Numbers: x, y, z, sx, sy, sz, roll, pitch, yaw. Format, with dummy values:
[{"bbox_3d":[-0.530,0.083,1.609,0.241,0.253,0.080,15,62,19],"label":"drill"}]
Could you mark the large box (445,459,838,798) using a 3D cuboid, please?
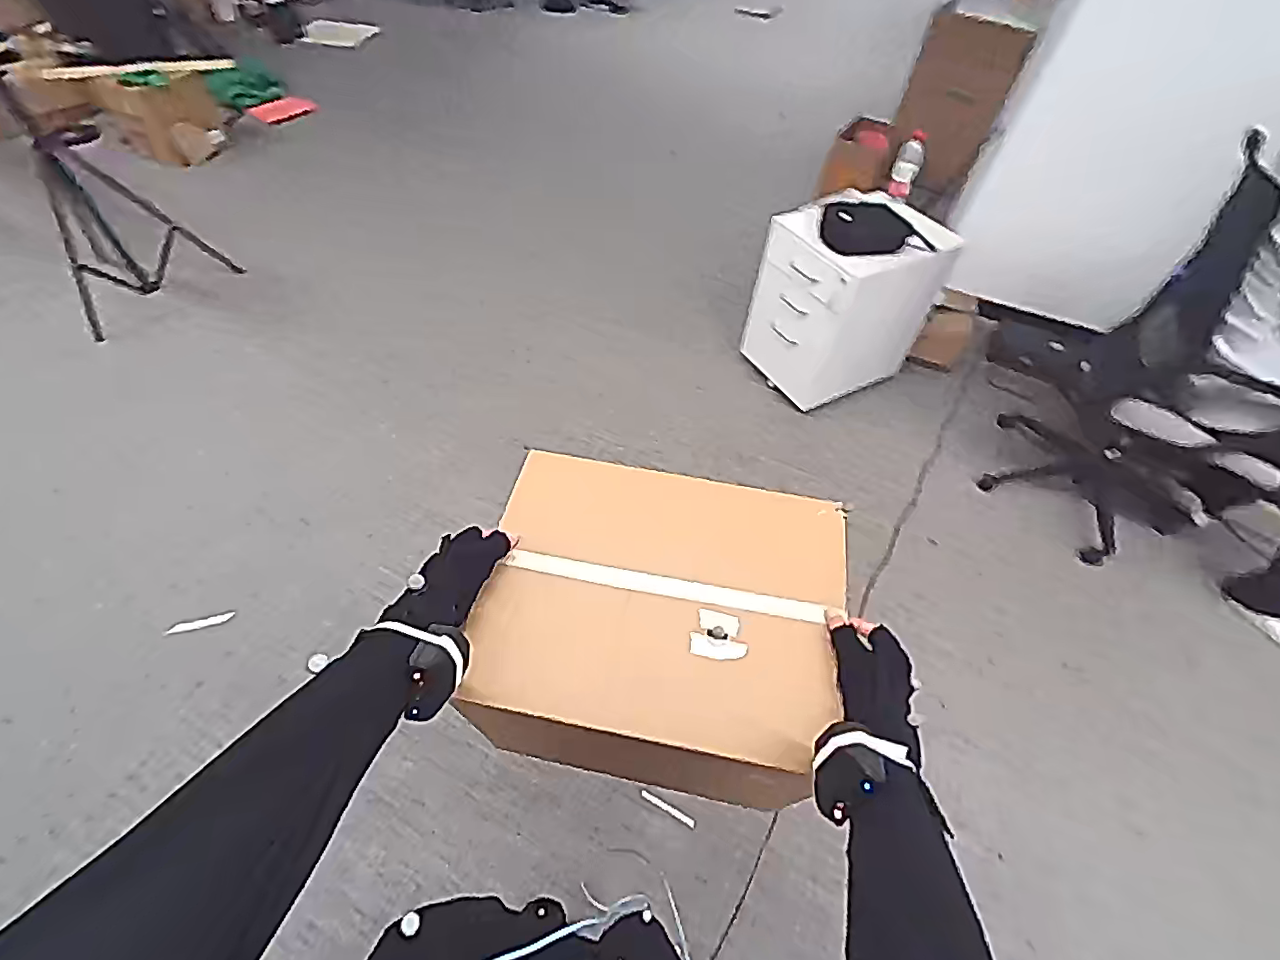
[{"bbox_3d":[0.015,0.209,0.737,0.408,0.320,0.320,10,56,5],"label":"large box"}]
